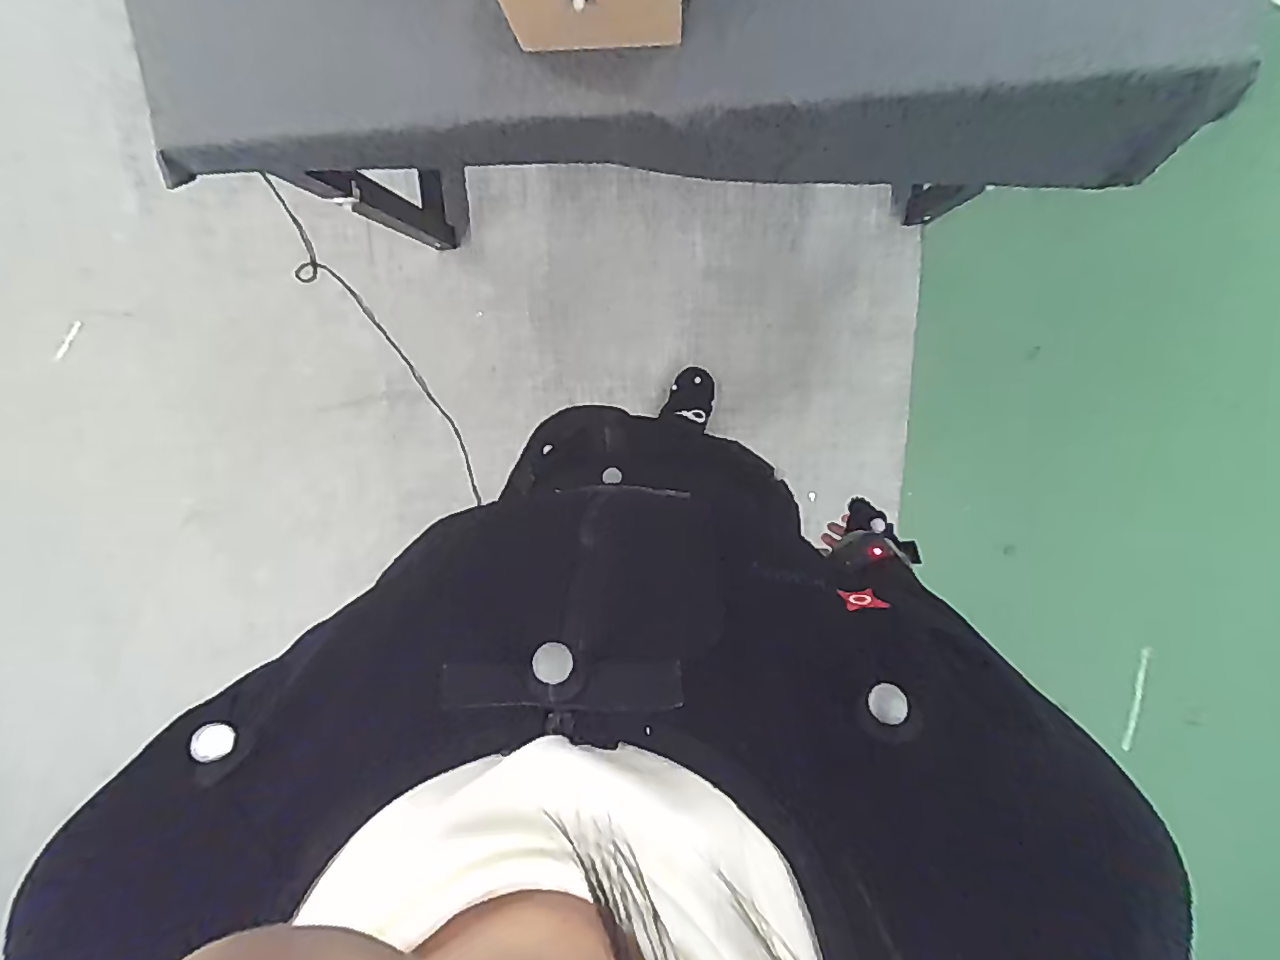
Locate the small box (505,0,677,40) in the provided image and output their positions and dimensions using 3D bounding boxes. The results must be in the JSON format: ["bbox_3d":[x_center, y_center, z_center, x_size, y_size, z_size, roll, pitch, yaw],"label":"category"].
[{"bbox_3d":[-0.047,-0.543,0.492,0.179,0.176,0.168,4,101,3],"label":"small box"}]
